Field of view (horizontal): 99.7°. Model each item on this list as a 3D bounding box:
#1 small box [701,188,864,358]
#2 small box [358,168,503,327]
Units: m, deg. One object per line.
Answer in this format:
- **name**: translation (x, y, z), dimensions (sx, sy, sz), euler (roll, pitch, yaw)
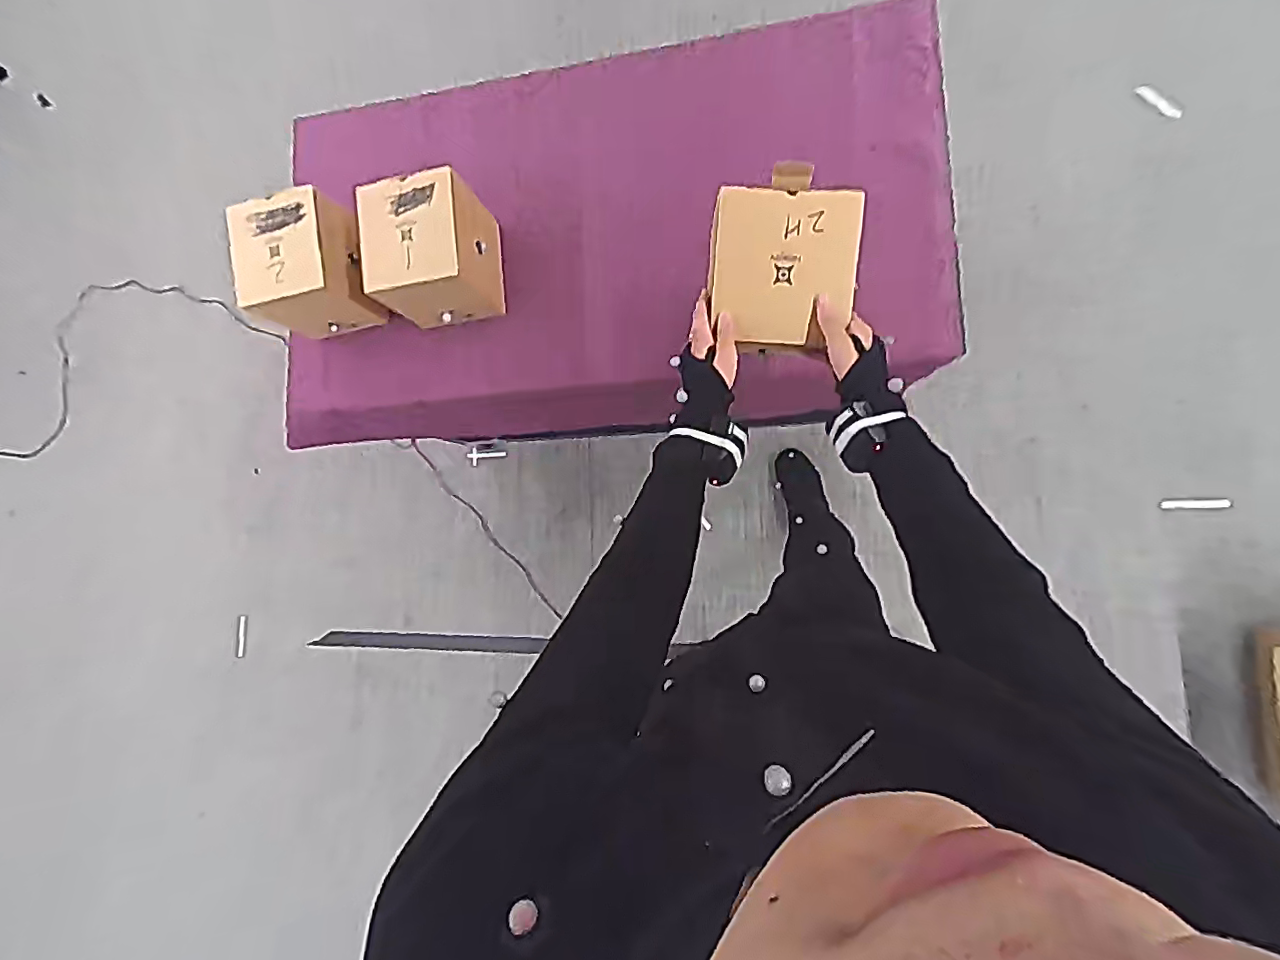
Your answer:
- **small box**: translation (0.169, -0.251, 0.696), dimensions (0.168, 0.176, 0.179), euler (4, 100, 3)
- **small box**: translation (-0.345, -0.380, 0.913), dimensions (0.168, 0.176, 0.179), euler (-7, 85, 11)
